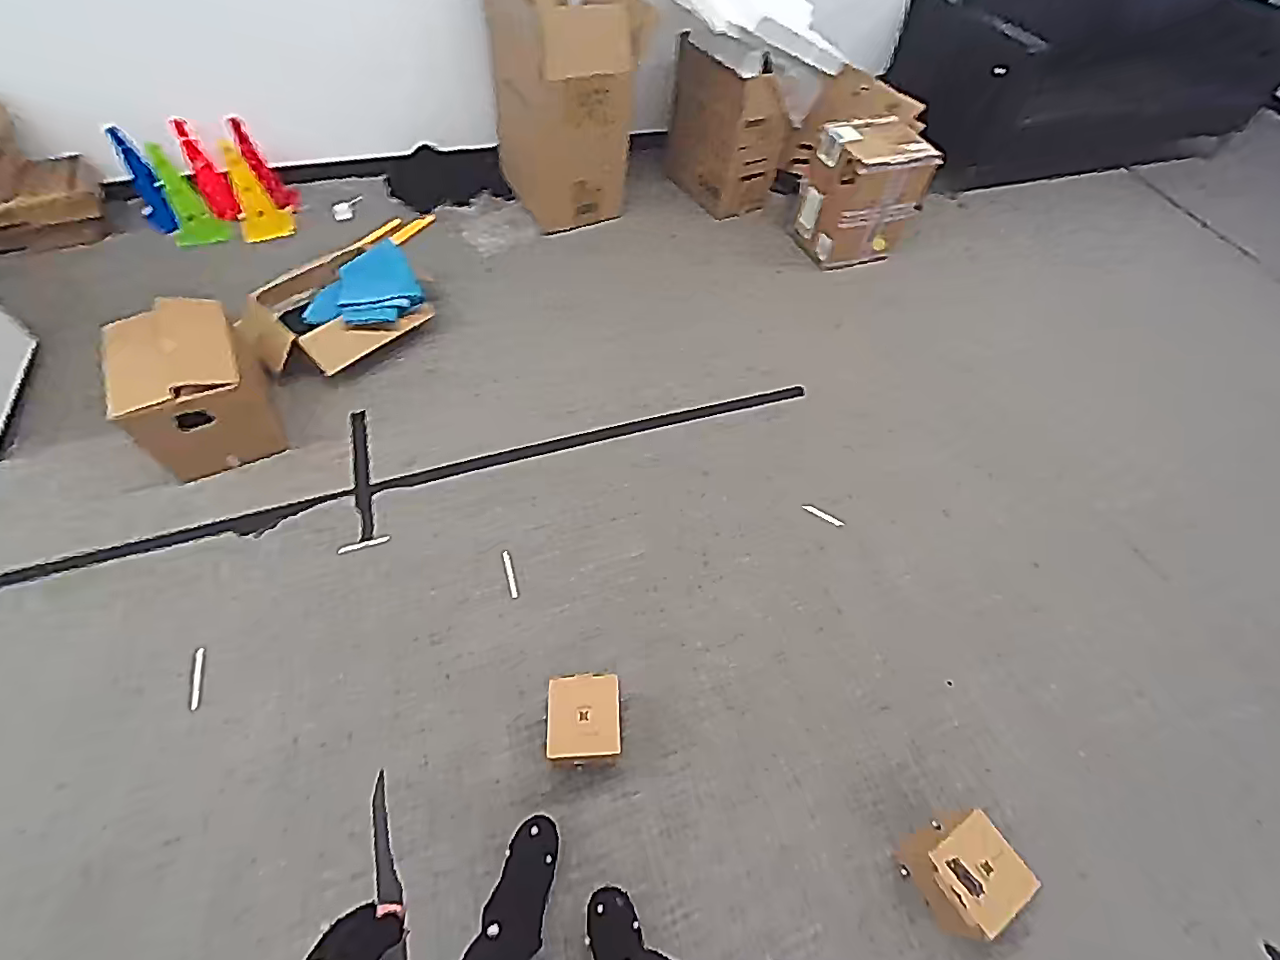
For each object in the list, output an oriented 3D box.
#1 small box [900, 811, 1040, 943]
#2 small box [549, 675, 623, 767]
[{"bbox_3d":[0.708,0.864,1.188,0.179,0.176,0.168,-24,61,-21],"label":"small box"},{"bbox_3d":[-0.130,0.582,1.303,0.168,0.176,0.179,-1,57,-5],"label":"small box"}]
